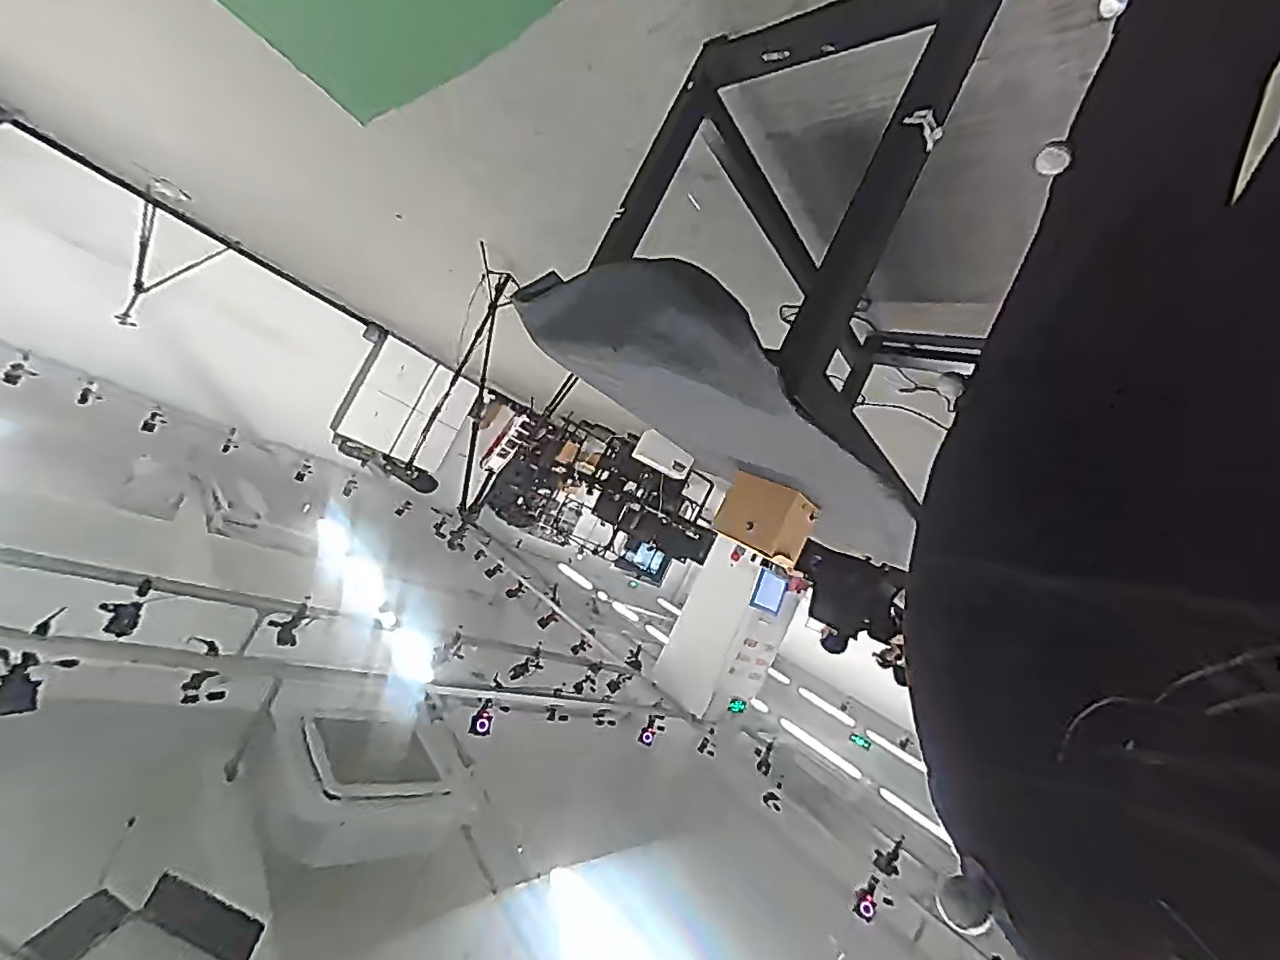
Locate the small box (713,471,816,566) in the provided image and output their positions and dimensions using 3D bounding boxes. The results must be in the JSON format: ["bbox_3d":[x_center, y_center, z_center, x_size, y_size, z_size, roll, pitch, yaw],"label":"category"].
[{"bbox_3d":[0.322,0.093,1.364,0.179,0.176,0.168,24,175,41],"label":"small box"}]
